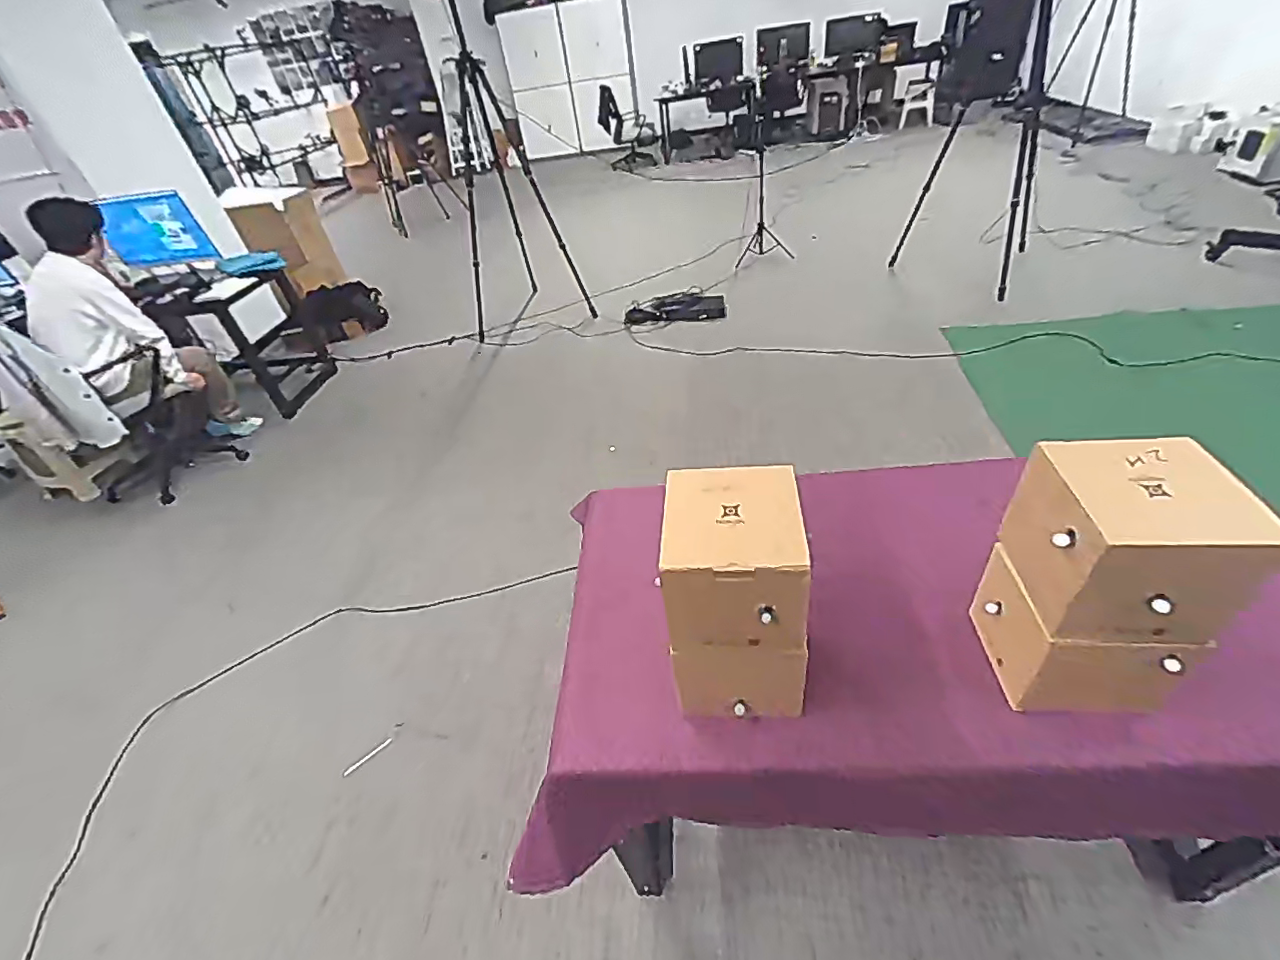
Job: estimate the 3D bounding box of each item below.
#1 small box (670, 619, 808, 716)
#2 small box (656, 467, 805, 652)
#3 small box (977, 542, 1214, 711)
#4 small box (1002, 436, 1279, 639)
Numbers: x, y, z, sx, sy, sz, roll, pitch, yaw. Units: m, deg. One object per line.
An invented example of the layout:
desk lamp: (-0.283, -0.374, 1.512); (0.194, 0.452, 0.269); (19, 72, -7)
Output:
small box: (0.141, 0.231, 0.798); (0.179, 0.176, 0.168); (-3, 40, 9)
small box: (0.118, 0.104, 0.697); (0.168, 0.176, 0.179); (-2, 40, 10)
small box: (0.588, 0.197, 0.736); (0.179, 0.176, 0.168); (-3, 40, 9)
small box: (0.564, 0.068, 0.636); (0.168, 0.176, 0.179); (-1, 40, 11)
